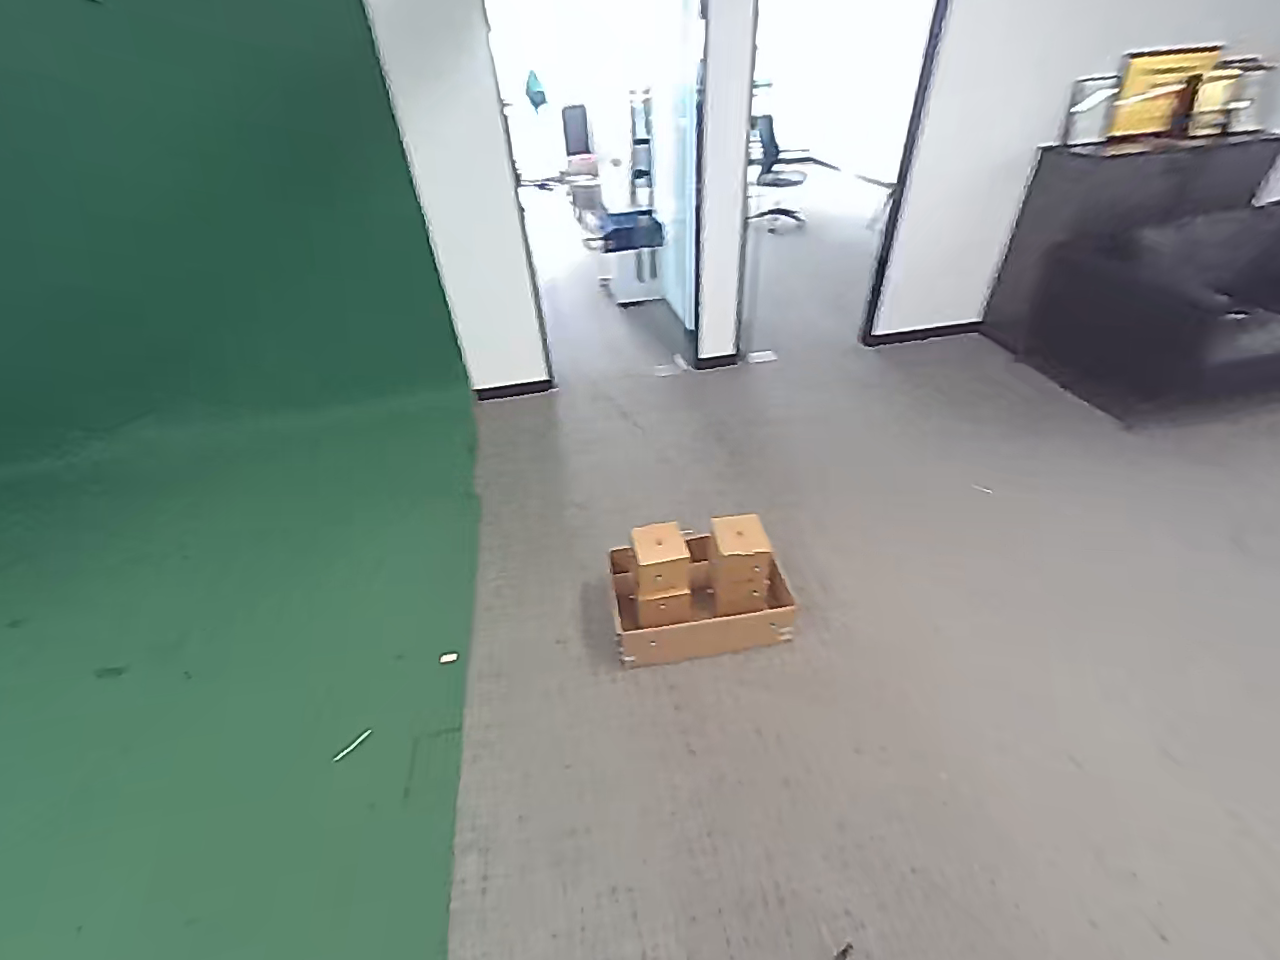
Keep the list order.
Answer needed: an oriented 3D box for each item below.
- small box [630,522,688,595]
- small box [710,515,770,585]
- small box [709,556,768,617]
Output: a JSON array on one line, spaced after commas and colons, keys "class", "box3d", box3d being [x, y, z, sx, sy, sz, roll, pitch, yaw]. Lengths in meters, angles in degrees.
[{"class": "small box", "box3d": [0.065, 0.274, 1.838, 0.168, 0.176, 0.179, -10, 38, -9]}, {"class": "small box", "box3d": [0.337, 0.246, 1.849, 0.168, 0.176, 0.179, -5, 38, -3]}, {"class": "small box", "box3d": [0.350, 0.374, 1.948, 0.179, 0.176, 0.168, -6, 39, -2]}]
